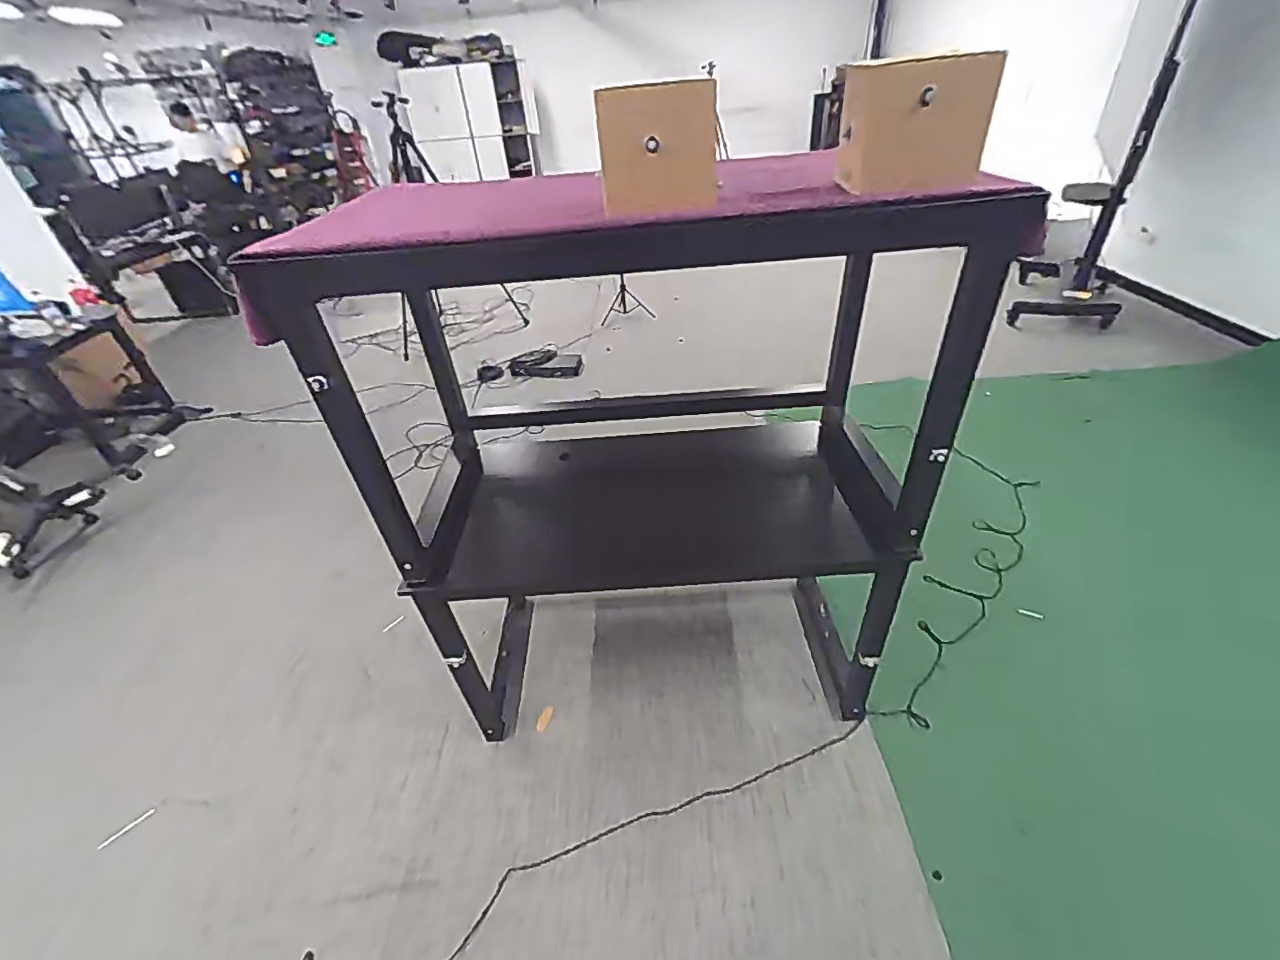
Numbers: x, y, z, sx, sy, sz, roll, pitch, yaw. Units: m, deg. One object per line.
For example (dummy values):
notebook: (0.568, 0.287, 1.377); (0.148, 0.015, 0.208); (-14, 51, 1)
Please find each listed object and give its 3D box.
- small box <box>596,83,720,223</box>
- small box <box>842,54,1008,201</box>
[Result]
small box: (0.032, -0.523, 0.866); (0.179, 0.176, 0.168); (-4, 36, 4)
small box: (0.421, -0.542, 0.838); (0.179, 0.176, 0.168); (-1, 38, 7)
